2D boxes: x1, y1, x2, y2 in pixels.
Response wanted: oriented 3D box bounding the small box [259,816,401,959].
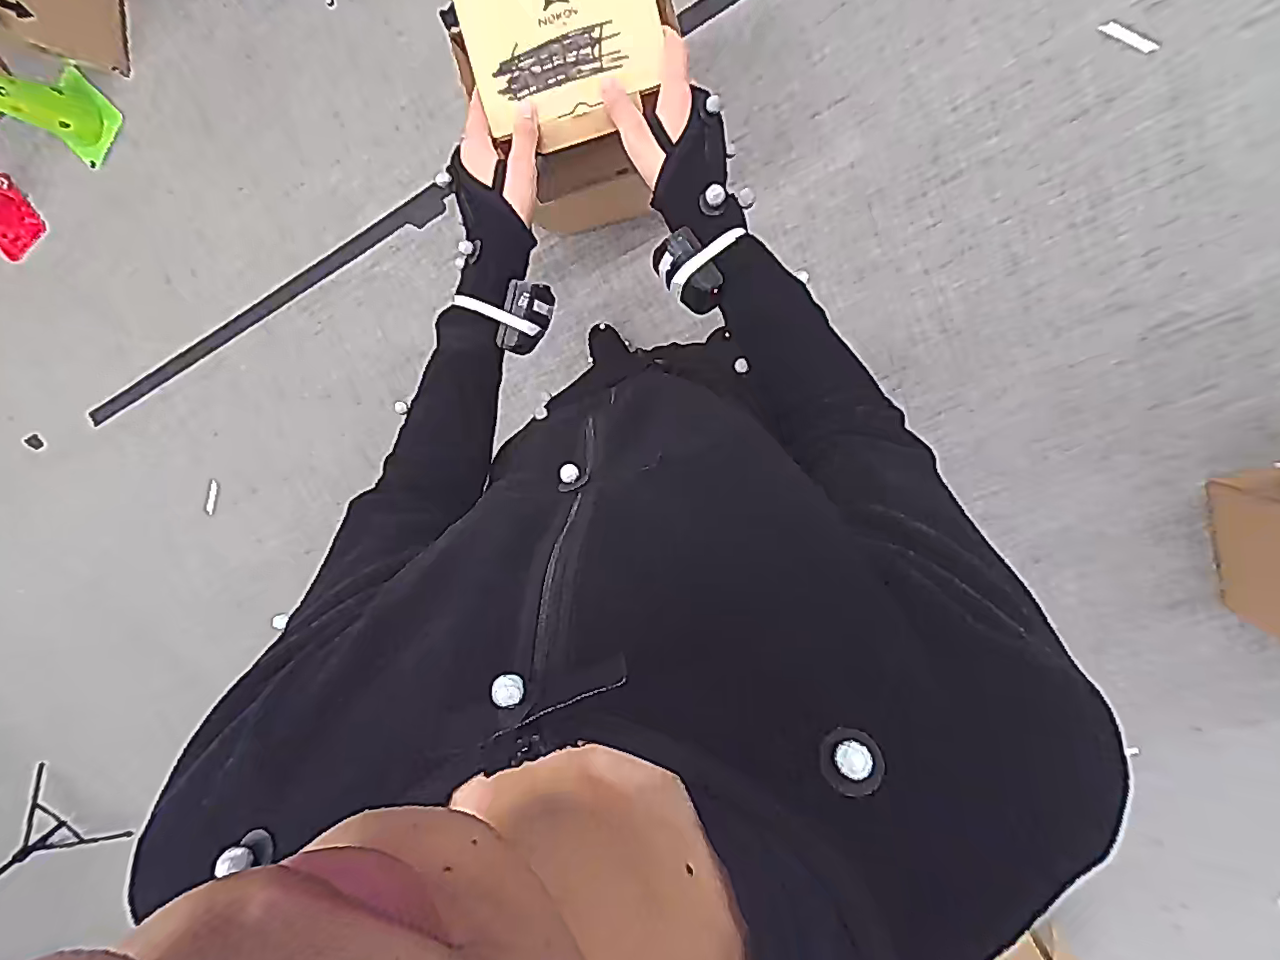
[{"bbox_3d":[-0.645,0.862,1.157,0.179,0.176,0.168,-28,101,16],"label":"small box"}]
